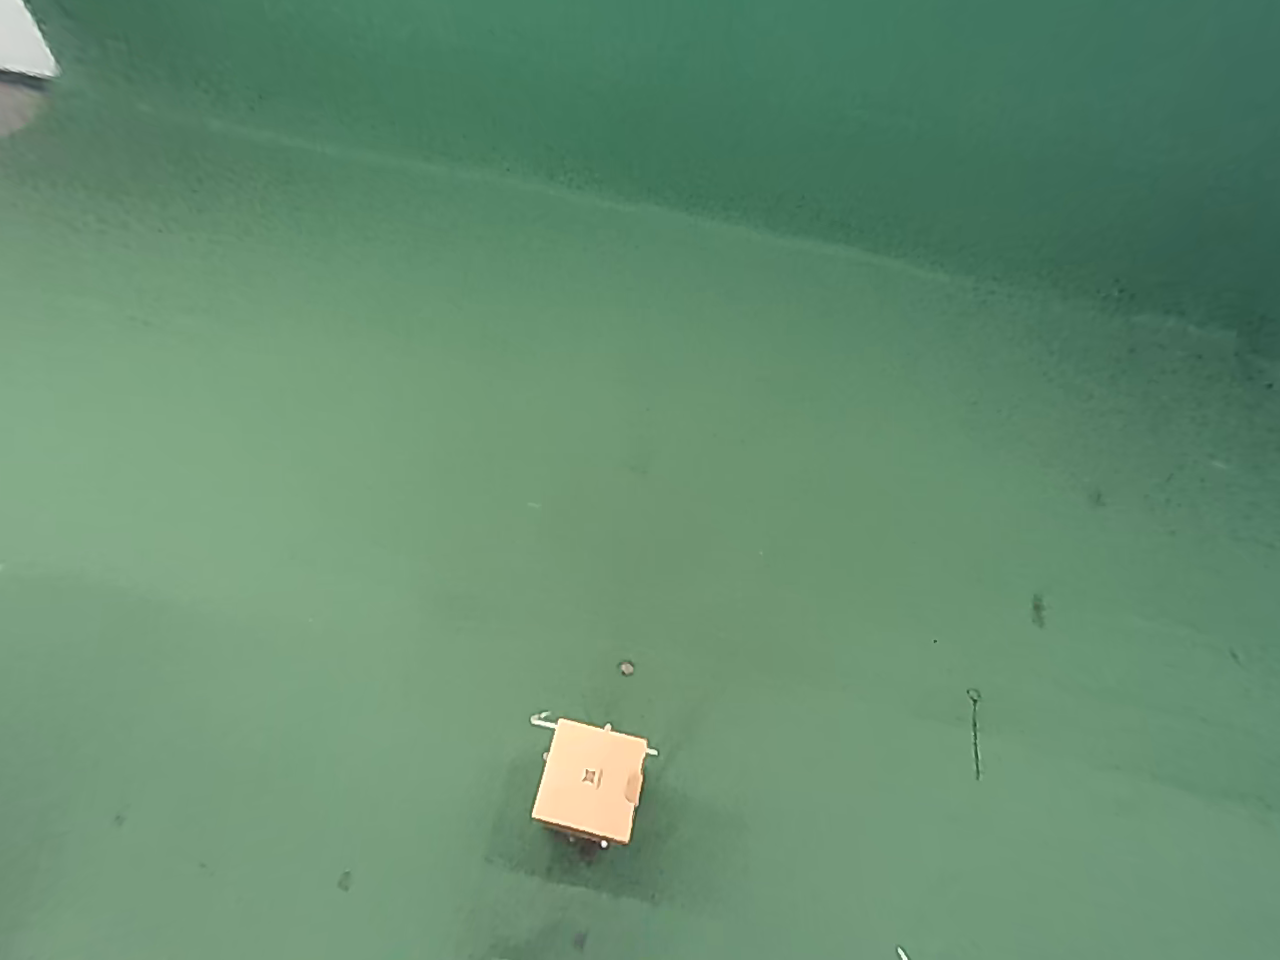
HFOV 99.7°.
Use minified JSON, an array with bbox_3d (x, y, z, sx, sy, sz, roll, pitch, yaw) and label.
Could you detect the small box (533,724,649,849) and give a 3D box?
[{"bbox_3d":[-0.090,0.588,1.029,0.179,0.176,0.168,13,54,2],"label":"small box"}]
